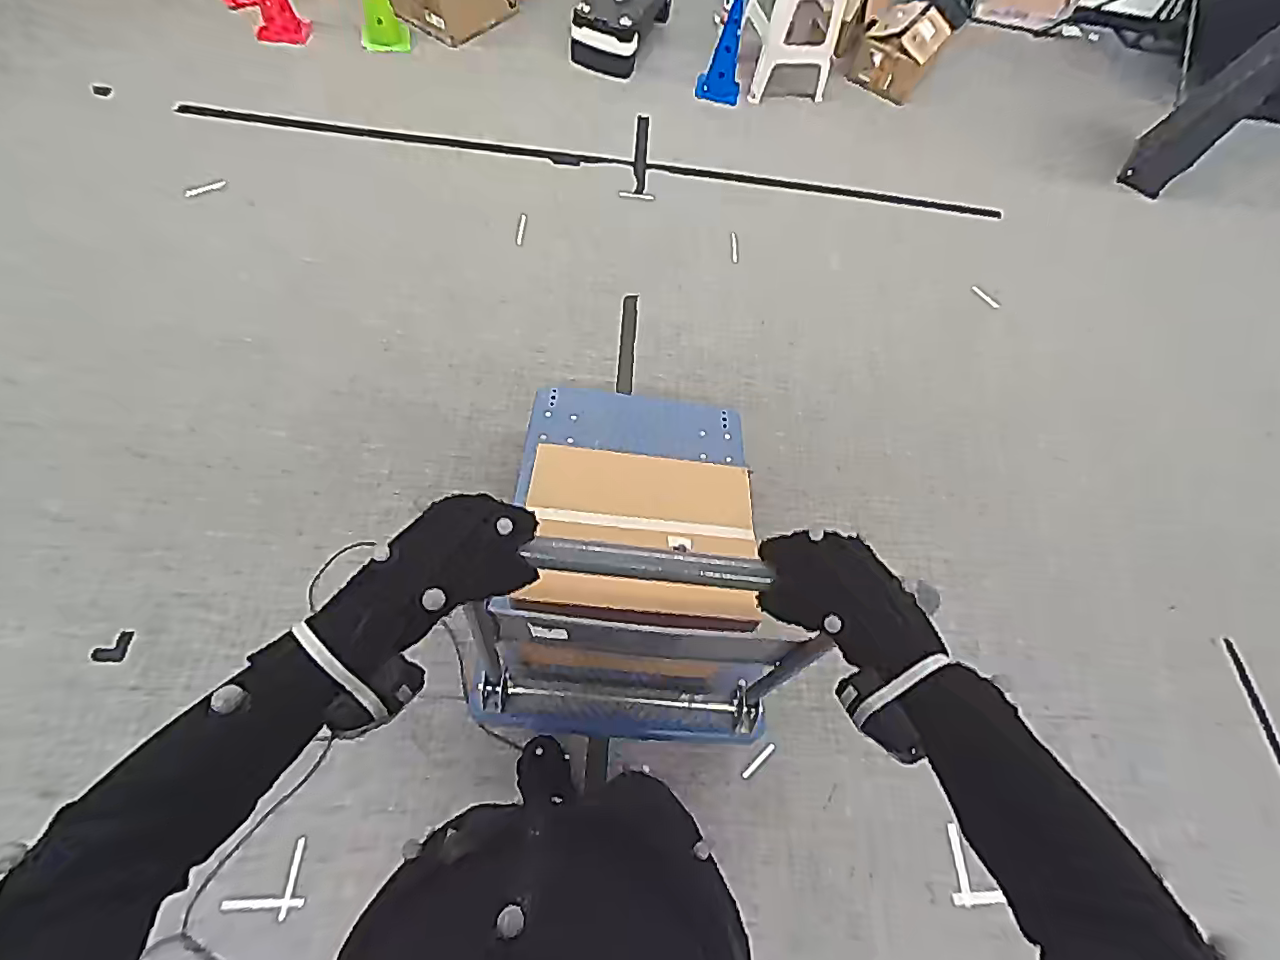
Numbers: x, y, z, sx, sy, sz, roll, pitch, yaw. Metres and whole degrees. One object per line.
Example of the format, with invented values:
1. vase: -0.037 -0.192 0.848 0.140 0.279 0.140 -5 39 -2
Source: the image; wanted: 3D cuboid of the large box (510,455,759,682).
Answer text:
1. large box: -0.024 0.182 1.048 0.408 0.320 0.320 7 54 -6
